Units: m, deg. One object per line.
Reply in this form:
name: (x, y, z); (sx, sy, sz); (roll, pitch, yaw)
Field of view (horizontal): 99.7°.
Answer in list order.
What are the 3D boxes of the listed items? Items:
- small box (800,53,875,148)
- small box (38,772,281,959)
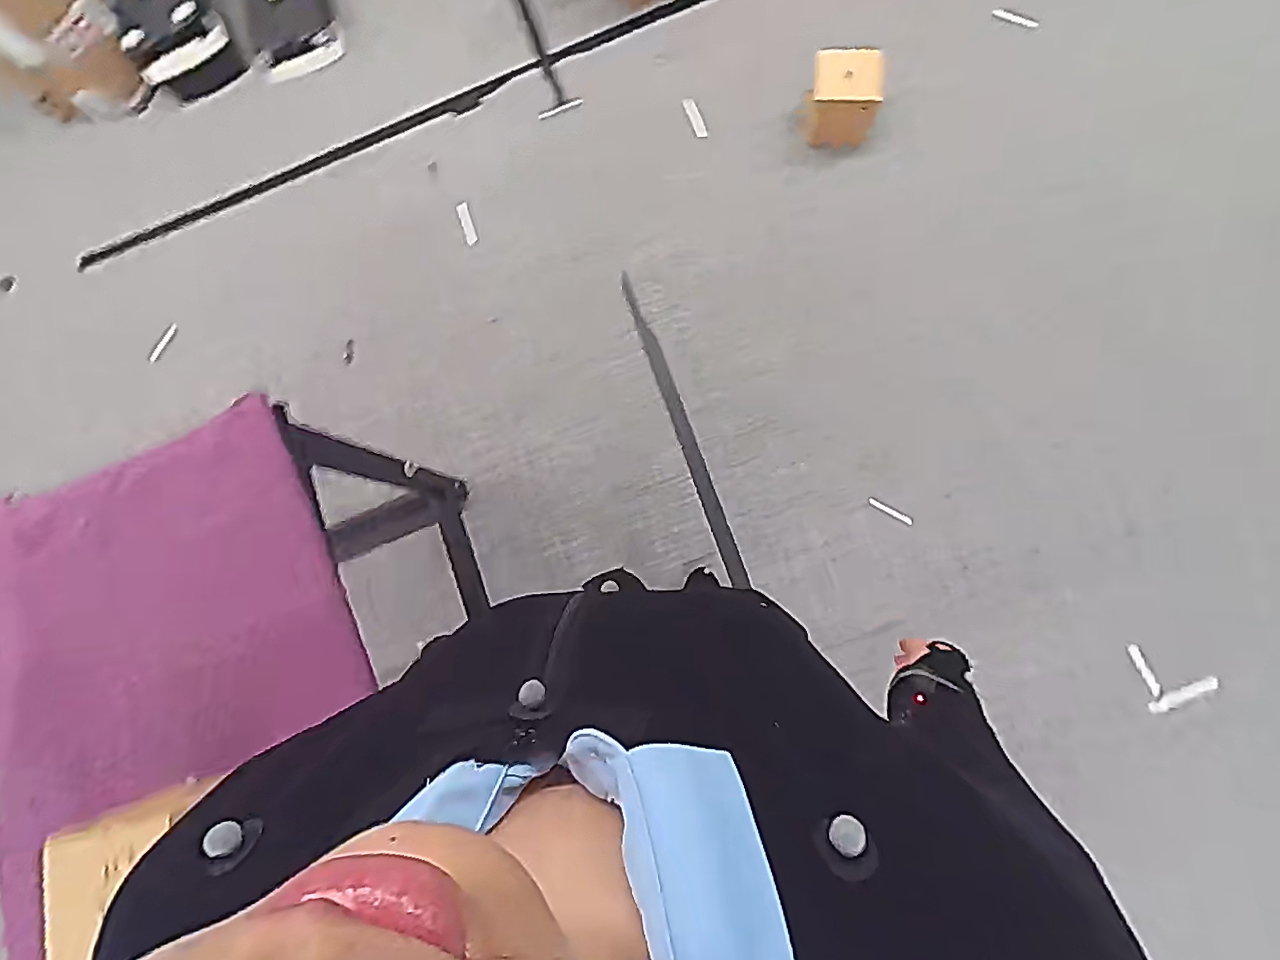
small box: (0.577, -1.112, 1.595); (0.179, 0.176, 0.168); (4, 80, 6)
small box: (-0.595, 0.507, 0.690); (0.168, 0.176, 0.179); (-14, 79, 3)
